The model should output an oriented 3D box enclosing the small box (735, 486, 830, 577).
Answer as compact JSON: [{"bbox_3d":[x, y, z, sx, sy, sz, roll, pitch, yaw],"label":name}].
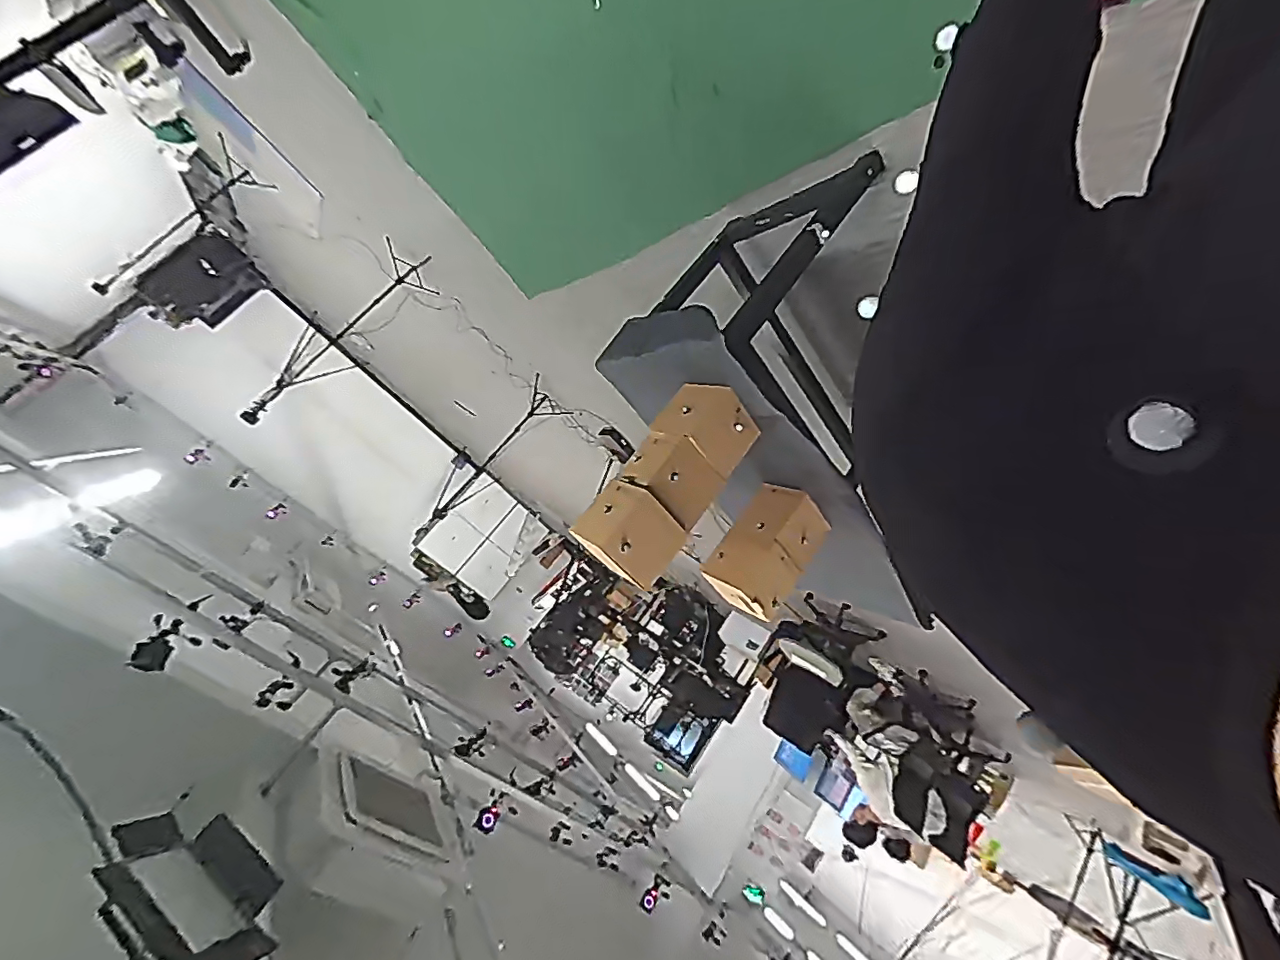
[{"bbox_3d":[0.413,0.144,1.548,0.179,0.176,0.168,47,162,-29],"label":"small box"}]

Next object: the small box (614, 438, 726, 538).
[{"bbox_3d":[0.075,0.013,1.324,0.179,0.176,0.168,44,165,-26],"label":"small box"}]

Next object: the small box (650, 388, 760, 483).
[{"bbox_3d":[0.166,-0.116,1.361,0.179,0.176,0.168,17,154,53],"label":"small box"}]

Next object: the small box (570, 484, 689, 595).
[{"bbox_3d":[-0.022,0.132,1.258,0.179,0.176,0.168,47,164,-30],"label":"small box"}]
